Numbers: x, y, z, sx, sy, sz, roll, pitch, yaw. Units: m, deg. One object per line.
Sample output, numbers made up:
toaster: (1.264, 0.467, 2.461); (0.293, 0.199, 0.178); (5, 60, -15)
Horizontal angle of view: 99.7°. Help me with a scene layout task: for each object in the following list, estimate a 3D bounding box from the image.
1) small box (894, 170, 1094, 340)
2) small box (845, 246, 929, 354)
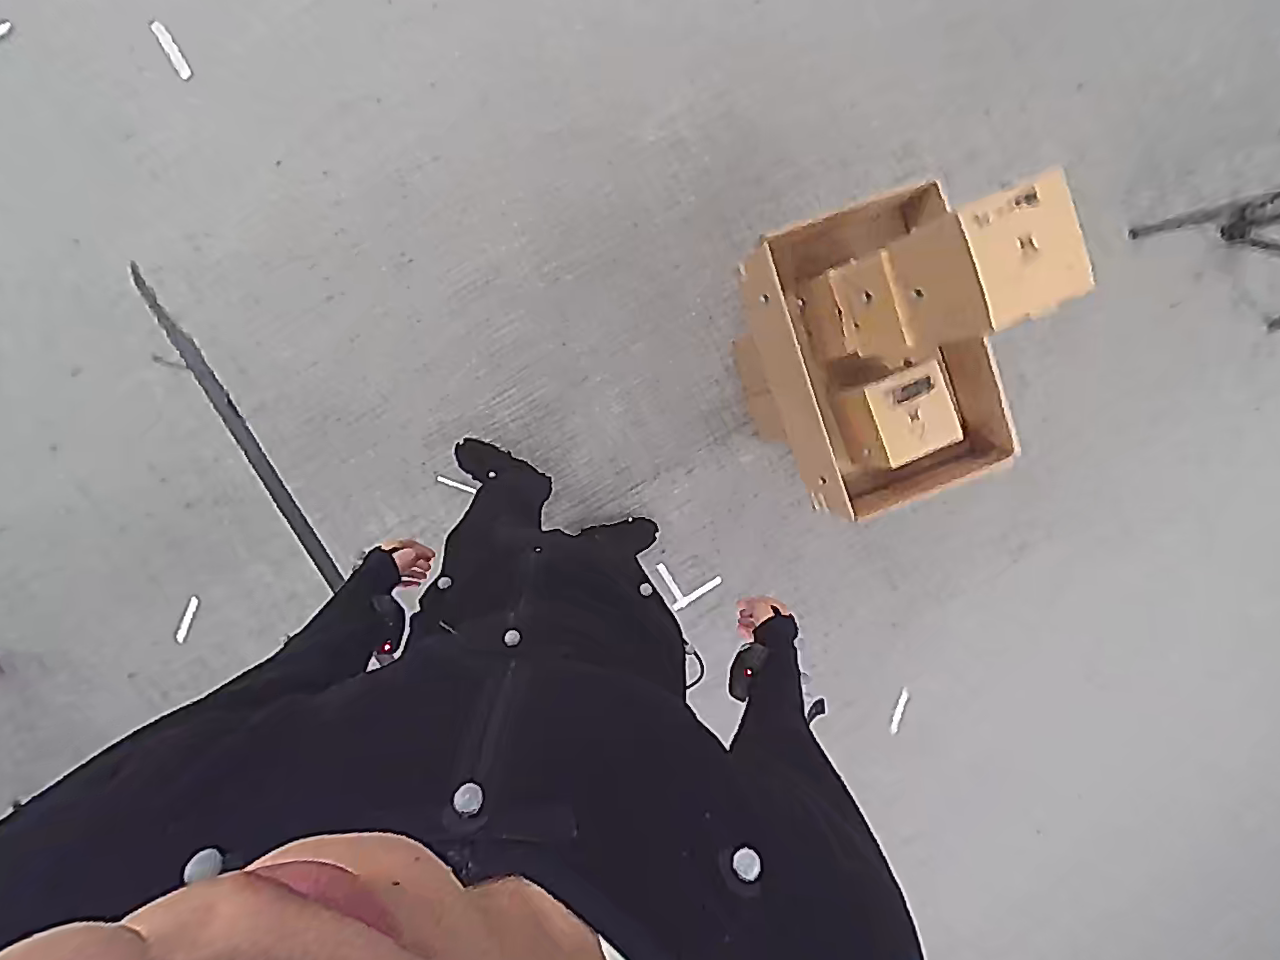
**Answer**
small box: (0.522, -0.322, 0.817); (0.168, 0.176, 0.179); (-22, 99, -4)
small box: (0.495, -0.338, 0.978); (0.179, 0.176, 0.168); (-21, 99, -4)
